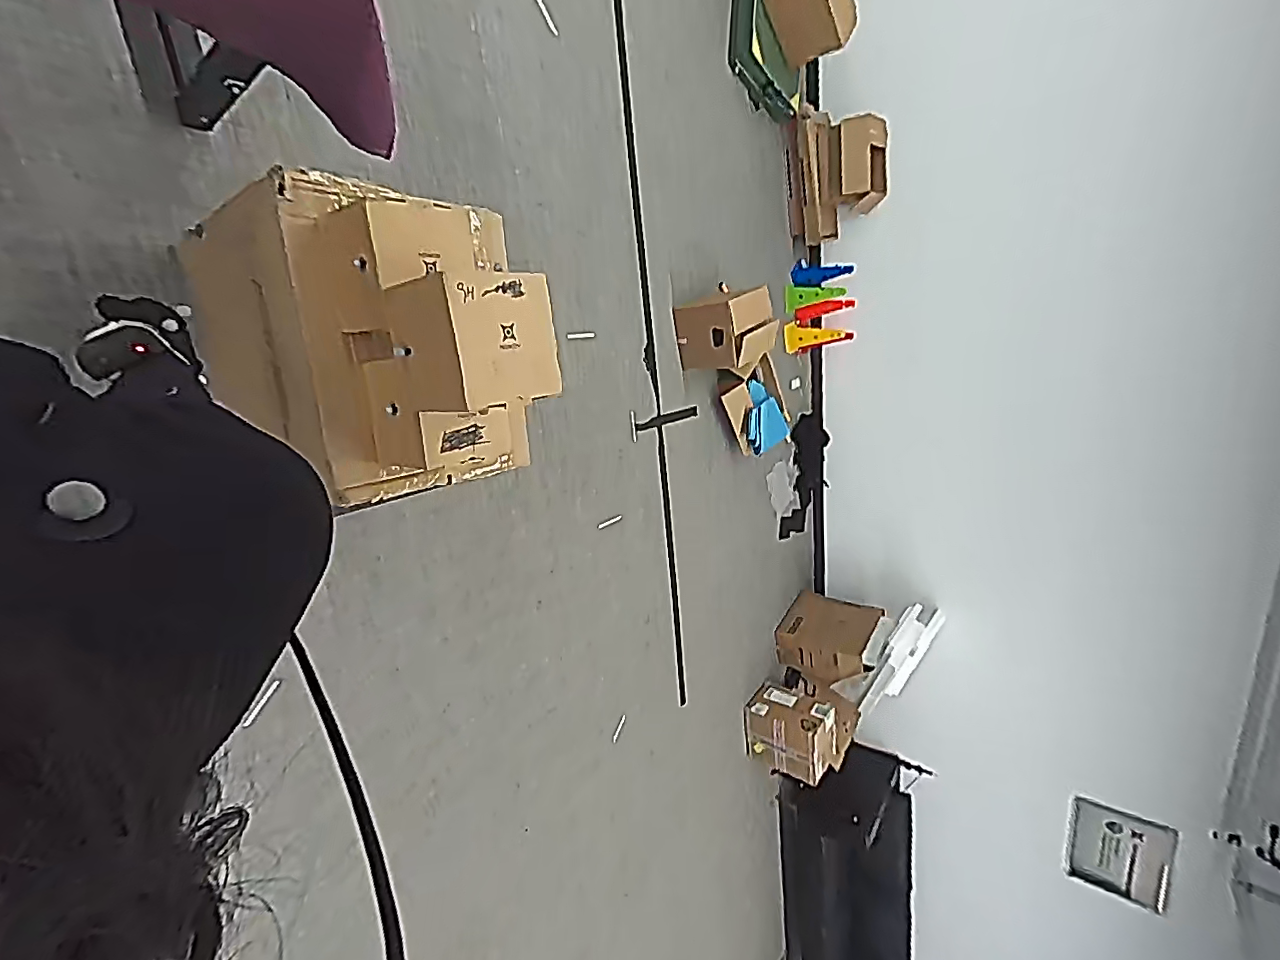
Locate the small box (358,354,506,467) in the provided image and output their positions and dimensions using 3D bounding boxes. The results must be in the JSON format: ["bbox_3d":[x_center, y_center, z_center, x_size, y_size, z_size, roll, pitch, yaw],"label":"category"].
[{"bbox_3d":[-0.352,-0.124,0.920,0.168,0.176,0.179,-16,105,-49],"label":"small box"}]

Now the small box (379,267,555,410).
[{"bbox_3d":[-0.247,-0.201,0.780,0.168,0.176,0.179,-22,111,-47],"label":"small box"}]

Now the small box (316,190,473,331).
[{"bbox_3d":[-0.382,-0.333,0.853,0.168,0.176,0.179,-21,113,-47],"label":"small box"}]
